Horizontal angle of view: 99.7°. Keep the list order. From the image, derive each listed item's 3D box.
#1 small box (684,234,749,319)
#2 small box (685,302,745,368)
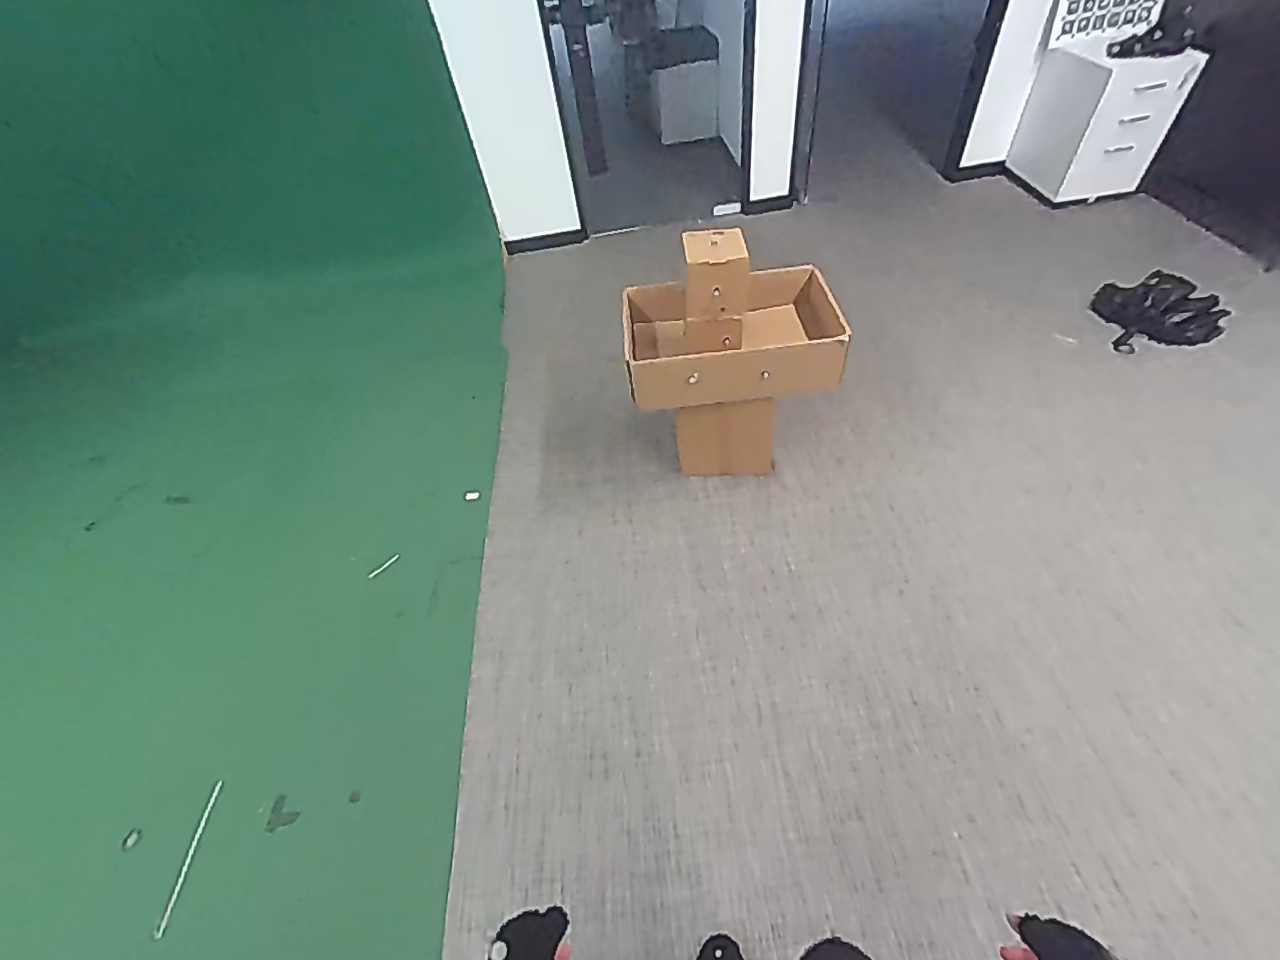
[{"bbox_3d":[0.212,-0.569,1.531,0.168,0.176,0.179,-3,49,2],"label":"small box"},{"bbox_3d":[0.224,-0.453,1.647,0.168,0.176,0.179,-3,47,3],"label":"small box"}]
